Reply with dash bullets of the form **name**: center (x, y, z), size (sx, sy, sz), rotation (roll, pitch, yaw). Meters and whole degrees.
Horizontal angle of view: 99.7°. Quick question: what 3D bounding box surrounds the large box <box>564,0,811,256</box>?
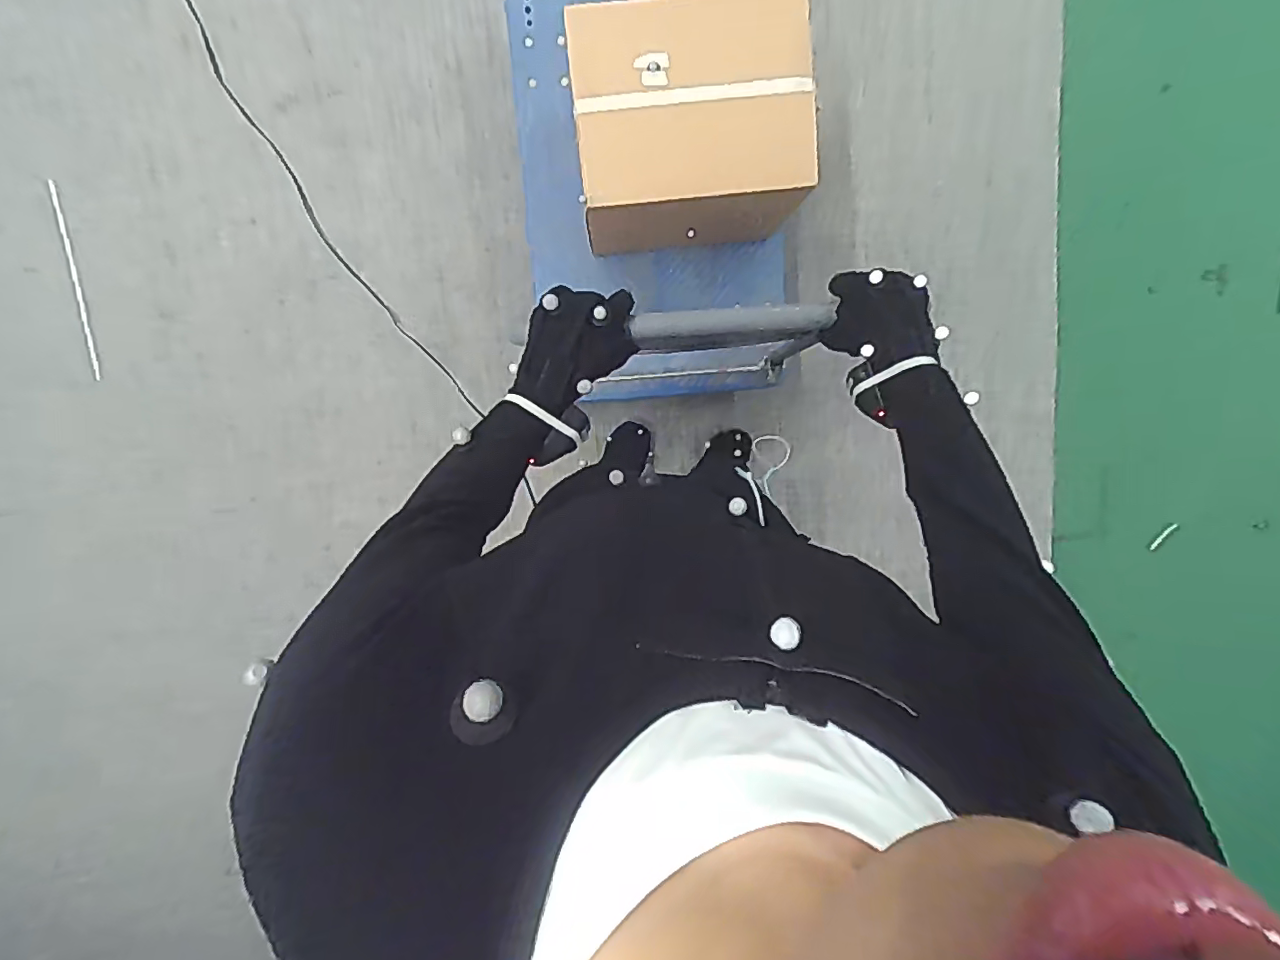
- **large box**: center (0.084, -0.657, 1.067), size (0.408, 0.320, 0.320), rotation (-6, 97, 0)
